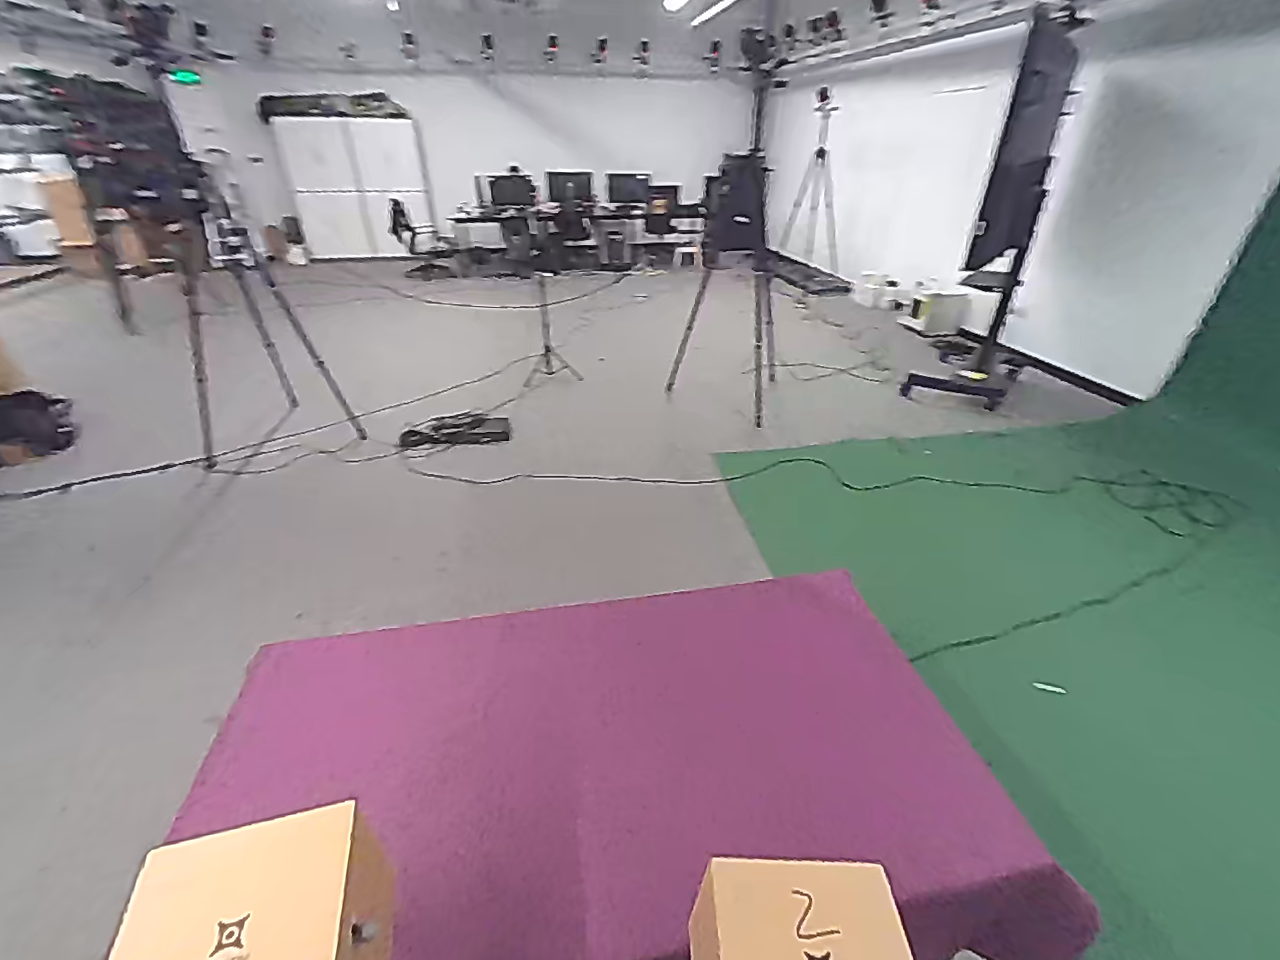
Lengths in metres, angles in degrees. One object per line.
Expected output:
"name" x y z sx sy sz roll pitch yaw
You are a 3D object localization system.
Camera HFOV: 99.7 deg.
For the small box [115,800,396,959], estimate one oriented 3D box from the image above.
"small box" -0.319 0.420 0.469 0.168 0.176 0.179 -6 39 -14
